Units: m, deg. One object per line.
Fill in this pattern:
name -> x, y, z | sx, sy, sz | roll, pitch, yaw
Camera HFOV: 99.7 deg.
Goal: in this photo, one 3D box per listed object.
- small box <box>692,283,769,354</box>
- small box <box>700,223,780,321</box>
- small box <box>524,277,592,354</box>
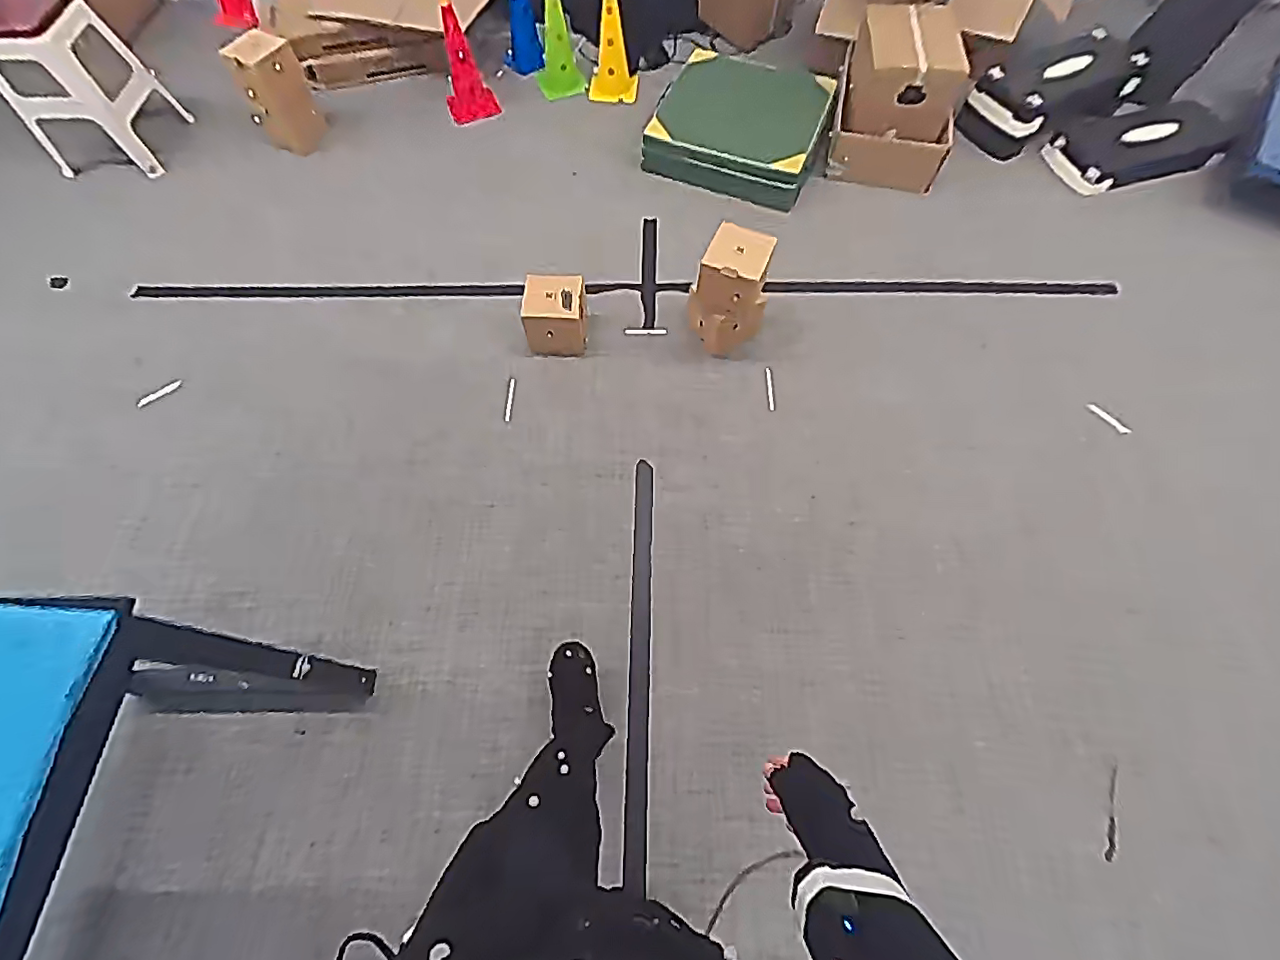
small box -> 0.276, -0.529, 1.700 | 0.179, 0.176, 0.168 | -30, 68, -13
small box -> 0.280, -0.587, 1.545 | 0.168, 0.176, 0.179 | 23, 67, 9
small box -> -0.249, -0.511, 1.695 | 0.179, 0.176, 0.168 | 2, 65, 3
